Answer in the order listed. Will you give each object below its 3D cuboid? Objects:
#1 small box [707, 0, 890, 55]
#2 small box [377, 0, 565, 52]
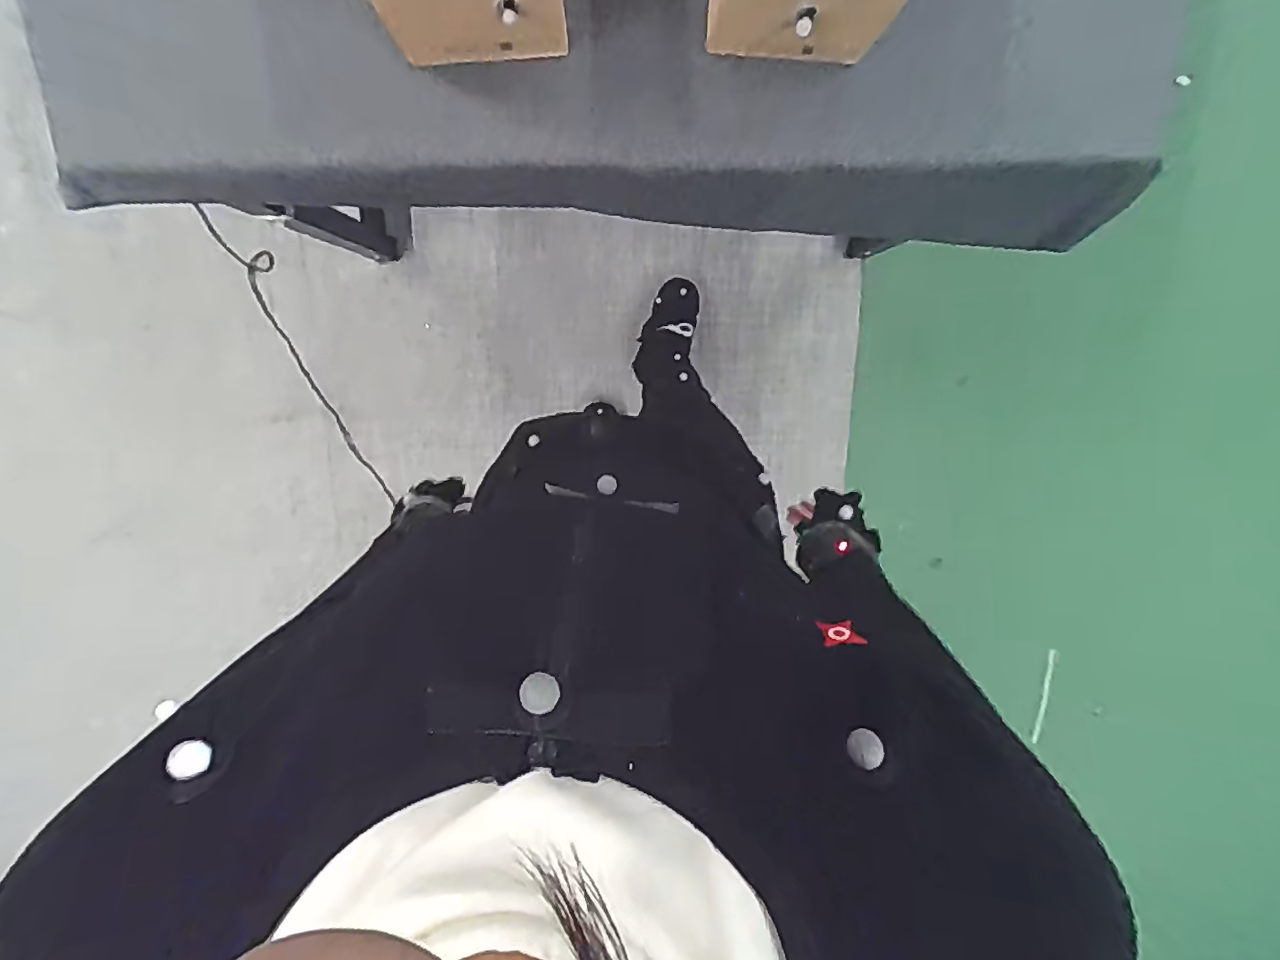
[{"bbox_3d":[0.156,-0.522,0.484,0.168,0.176,0.179,2,103,-3],"label":"small box"},{"bbox_3d":[-0.160,-0.513,0.474,0.168,0.176,0.179,-6,101,-3],"label":"small box"}]
